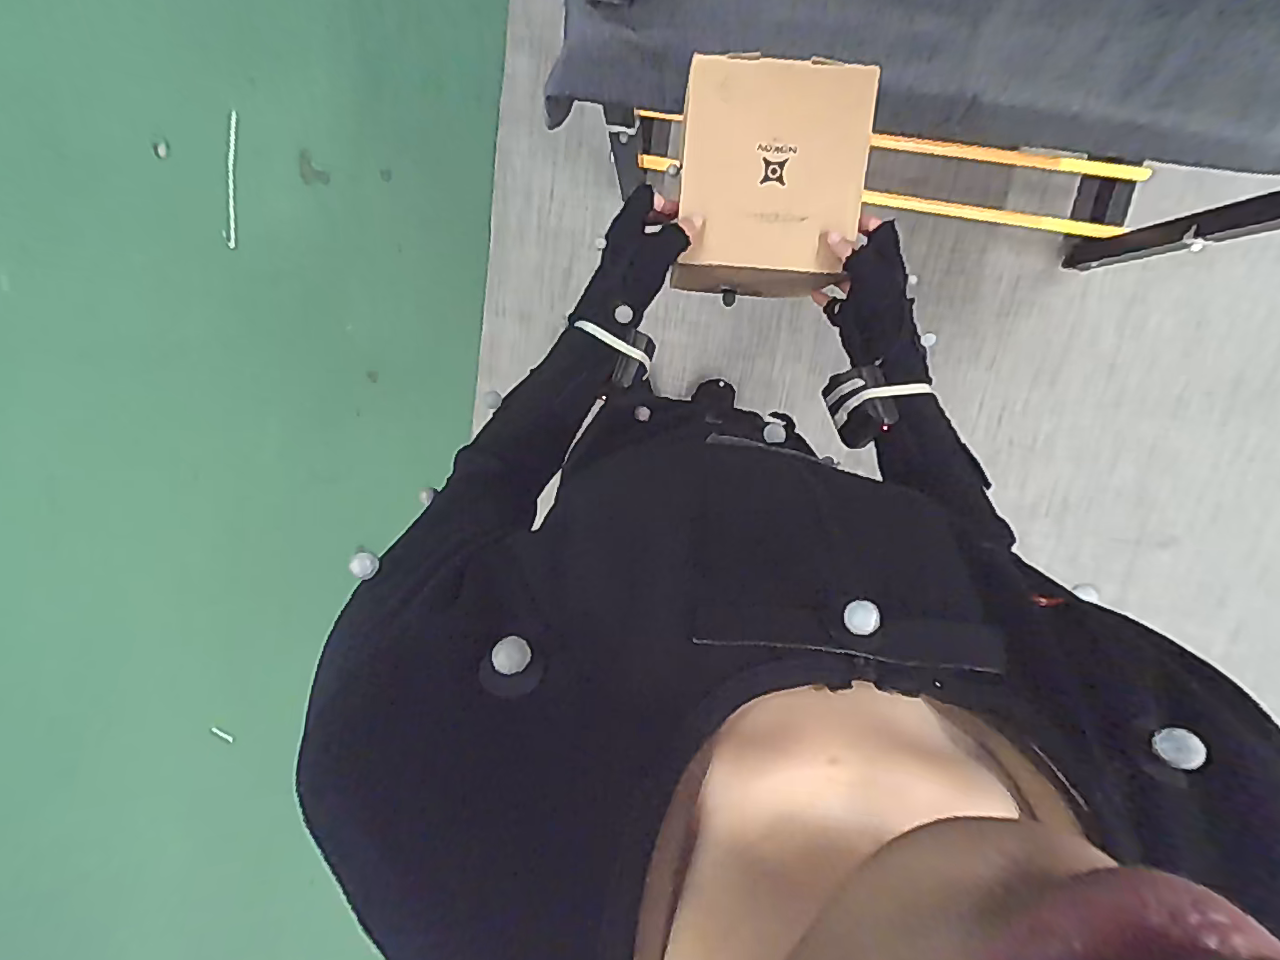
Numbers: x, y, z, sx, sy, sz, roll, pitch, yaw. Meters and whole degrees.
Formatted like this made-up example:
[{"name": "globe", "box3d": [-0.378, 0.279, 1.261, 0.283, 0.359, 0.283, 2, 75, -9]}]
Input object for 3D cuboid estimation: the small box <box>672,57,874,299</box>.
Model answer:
[{"name": "small box", "box3d": [0.124, -0.300, 0.574, 0.168, 0.176, 0.179, 4, 102, 1]}]
